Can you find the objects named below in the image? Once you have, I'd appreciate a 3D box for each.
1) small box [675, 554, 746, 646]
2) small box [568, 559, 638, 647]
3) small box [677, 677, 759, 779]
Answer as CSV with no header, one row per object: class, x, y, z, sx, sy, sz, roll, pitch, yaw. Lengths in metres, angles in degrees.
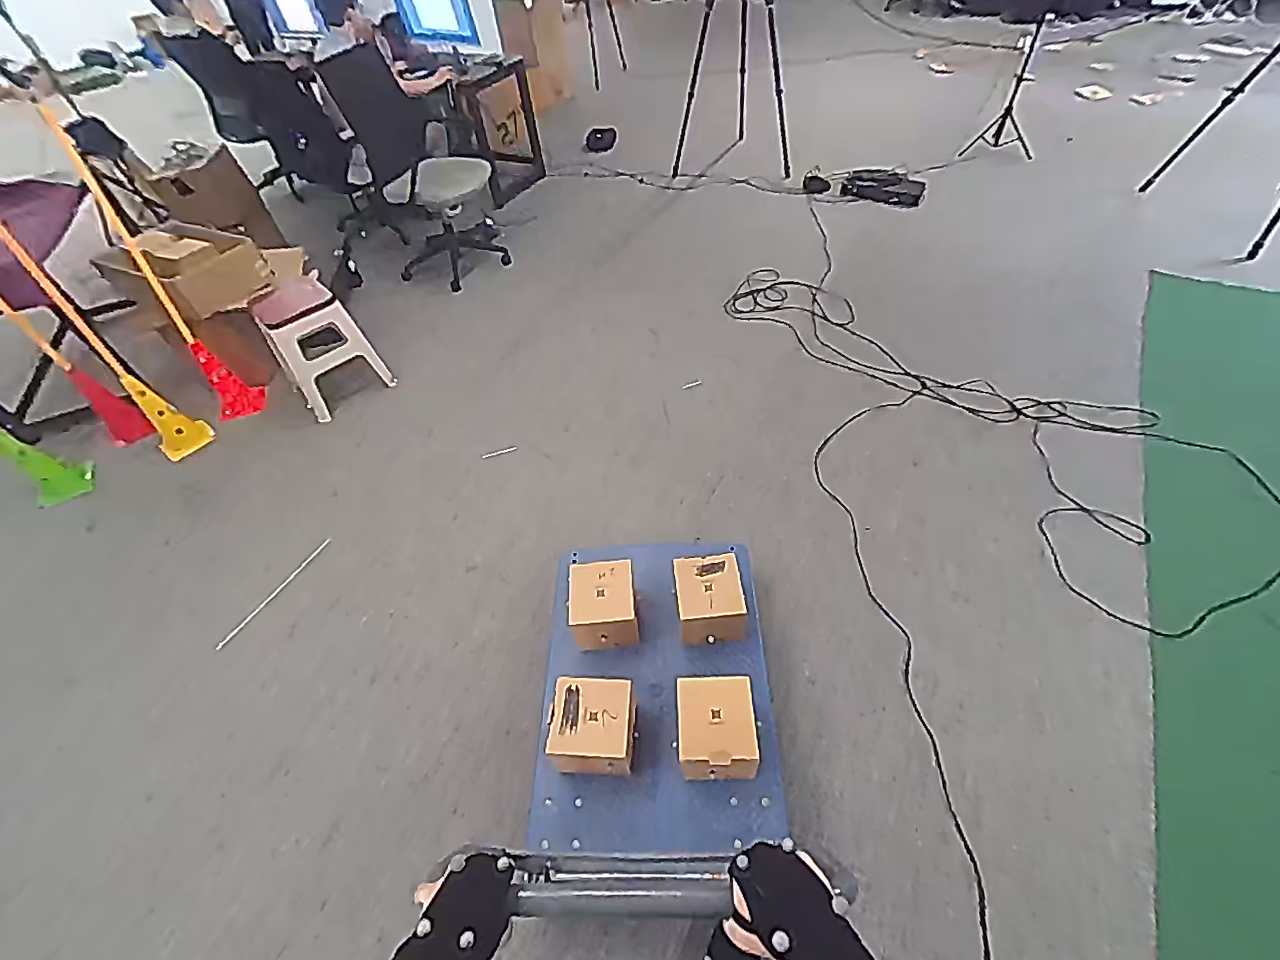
small box,0.180,0.319,1.432,0.168,0.176,0.179,-6,51,1
small box,-0.096,0.335,1.444,0.168,0.176,0.179,-5,50,0
small box,0.169,0.565,1.231,0.168,0.176,0.179,-2,51,3
